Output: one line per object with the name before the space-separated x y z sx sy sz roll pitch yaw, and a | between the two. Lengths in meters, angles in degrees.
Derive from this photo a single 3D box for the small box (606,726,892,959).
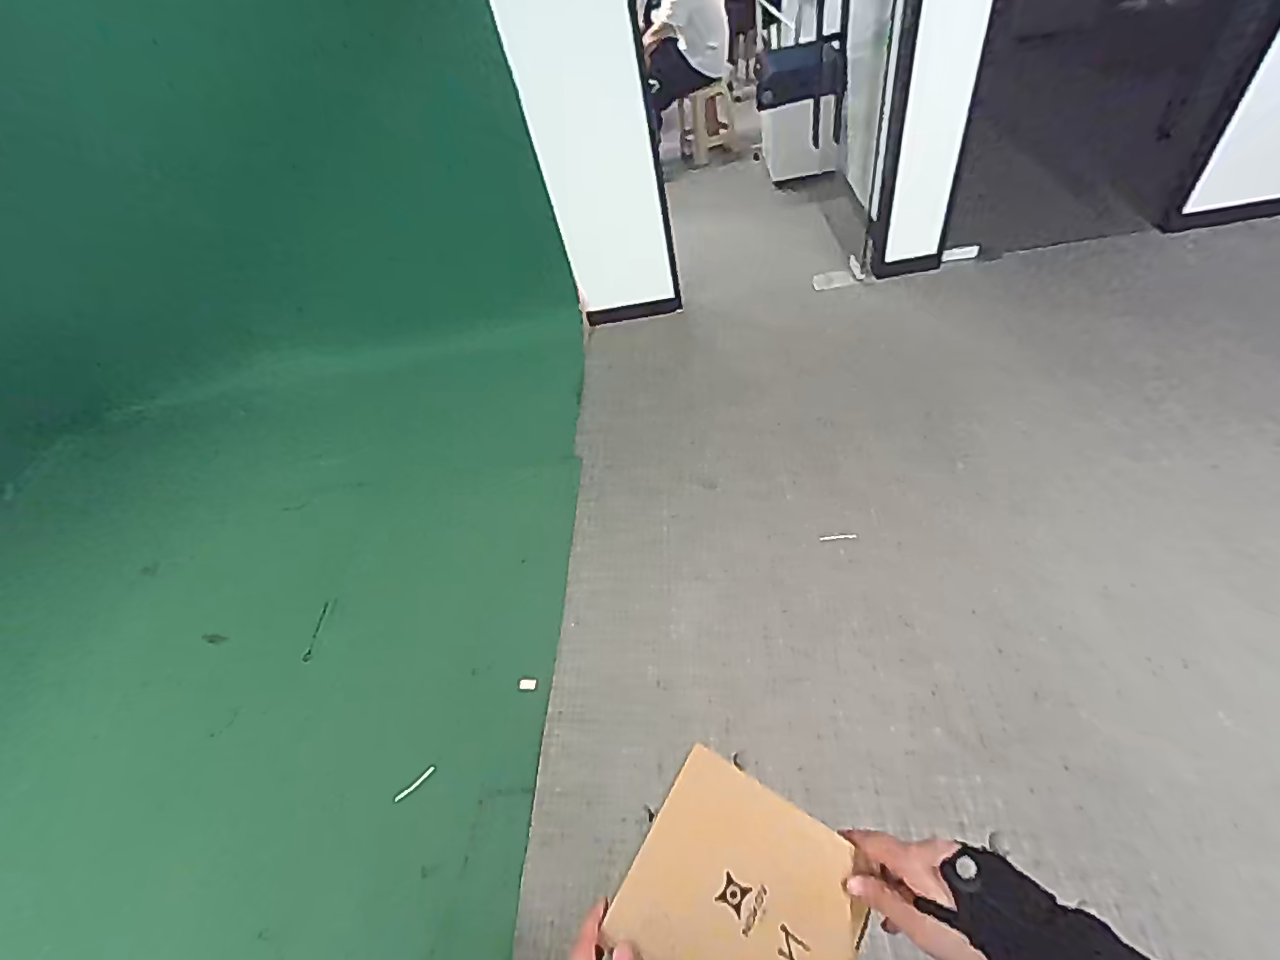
small box | 0.090 0.356 0.498 0.179 0.176 0.168 29 68 16
